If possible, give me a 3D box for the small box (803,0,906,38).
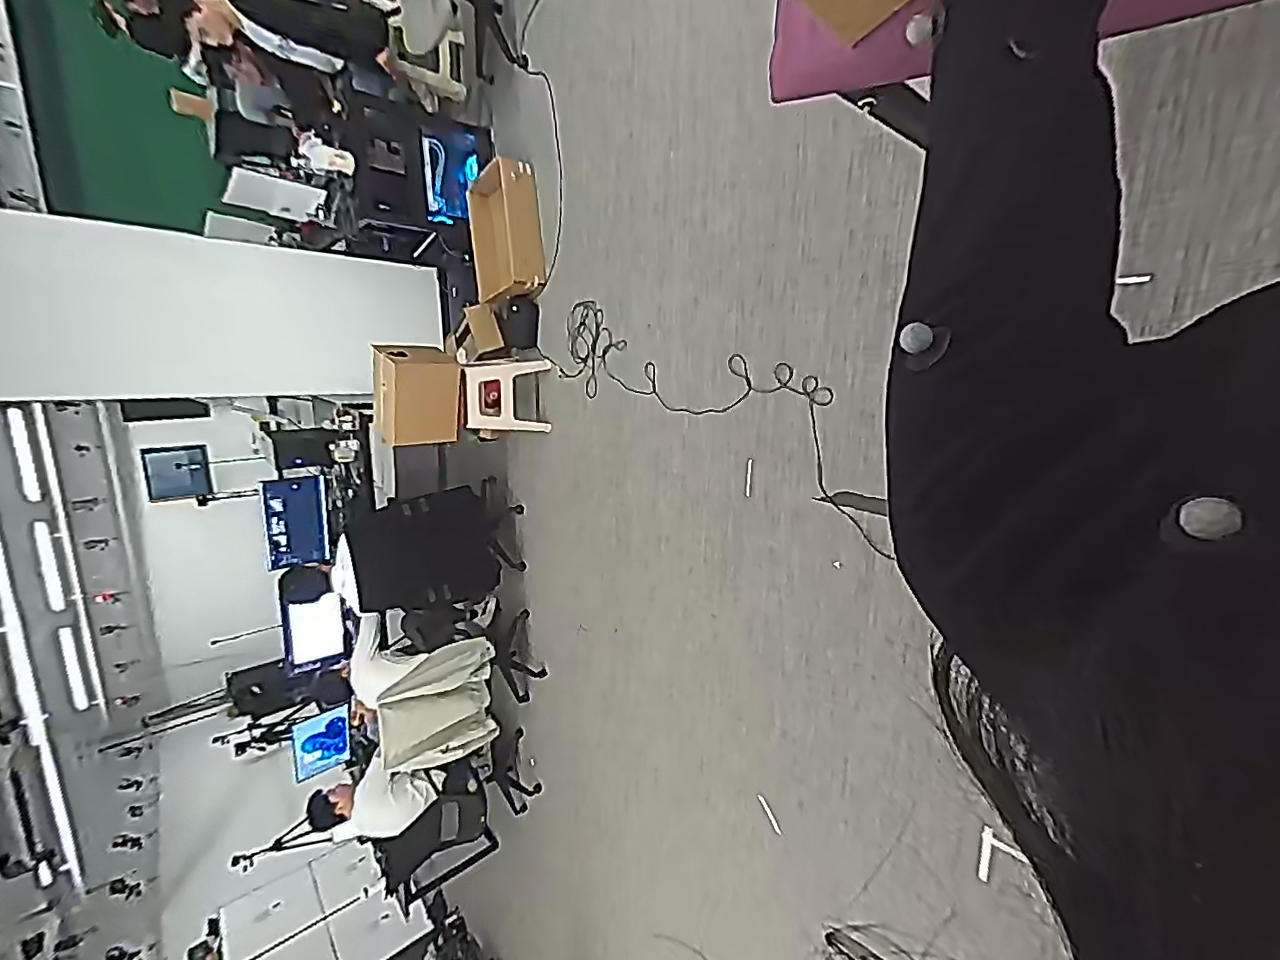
[{"bbox_3d":[0.291,-0.714,0.669,0.179,0.176,0.168,-12,87,49],"label":"small box"}]
